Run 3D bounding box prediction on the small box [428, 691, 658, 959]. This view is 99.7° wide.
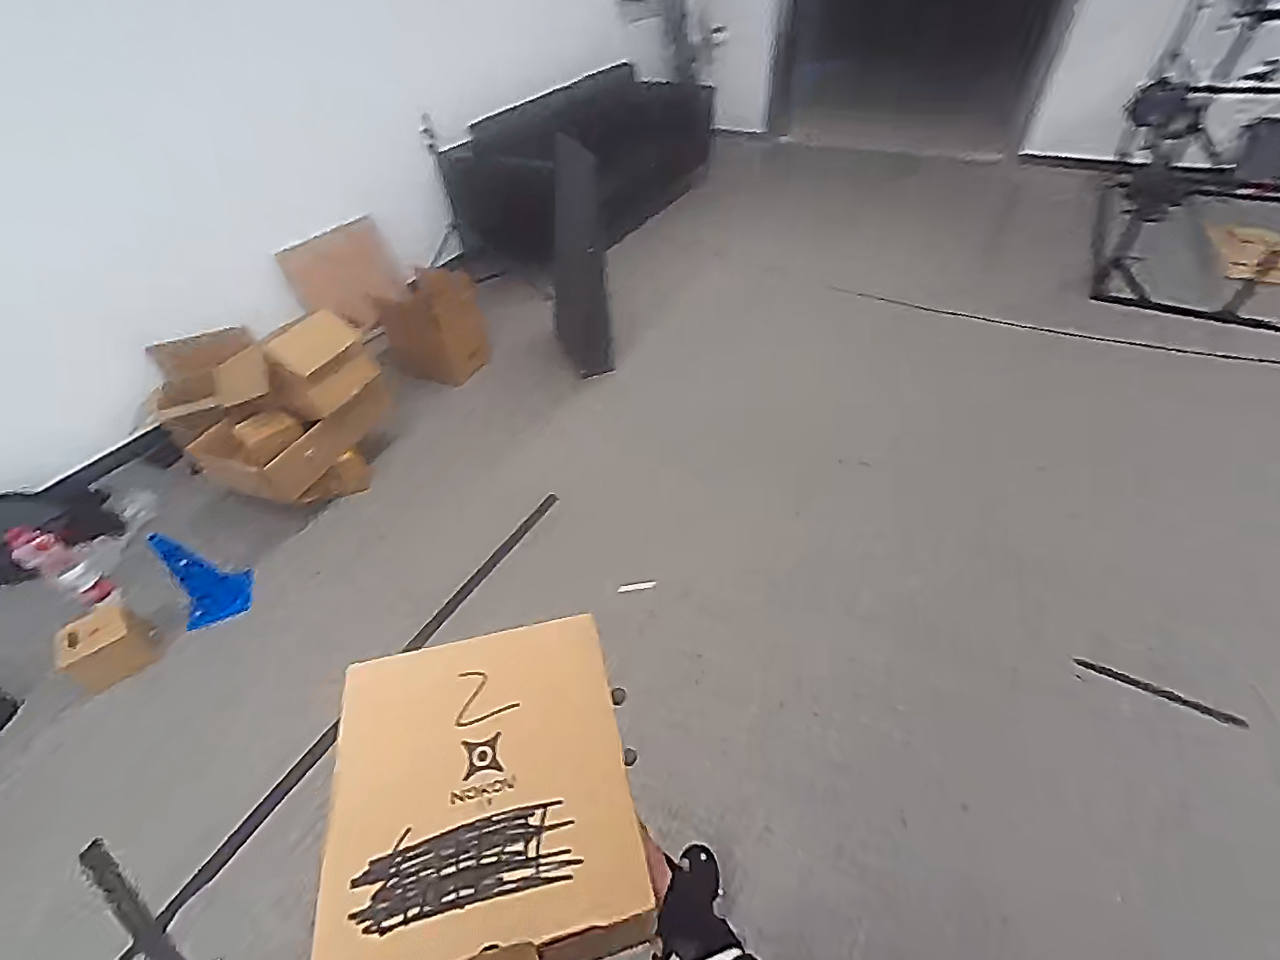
[{"bbox_3d":[-0.088,0.327,0.496,0.168,0.176,0.179,-10,48,-10],"label":"small box"}]
